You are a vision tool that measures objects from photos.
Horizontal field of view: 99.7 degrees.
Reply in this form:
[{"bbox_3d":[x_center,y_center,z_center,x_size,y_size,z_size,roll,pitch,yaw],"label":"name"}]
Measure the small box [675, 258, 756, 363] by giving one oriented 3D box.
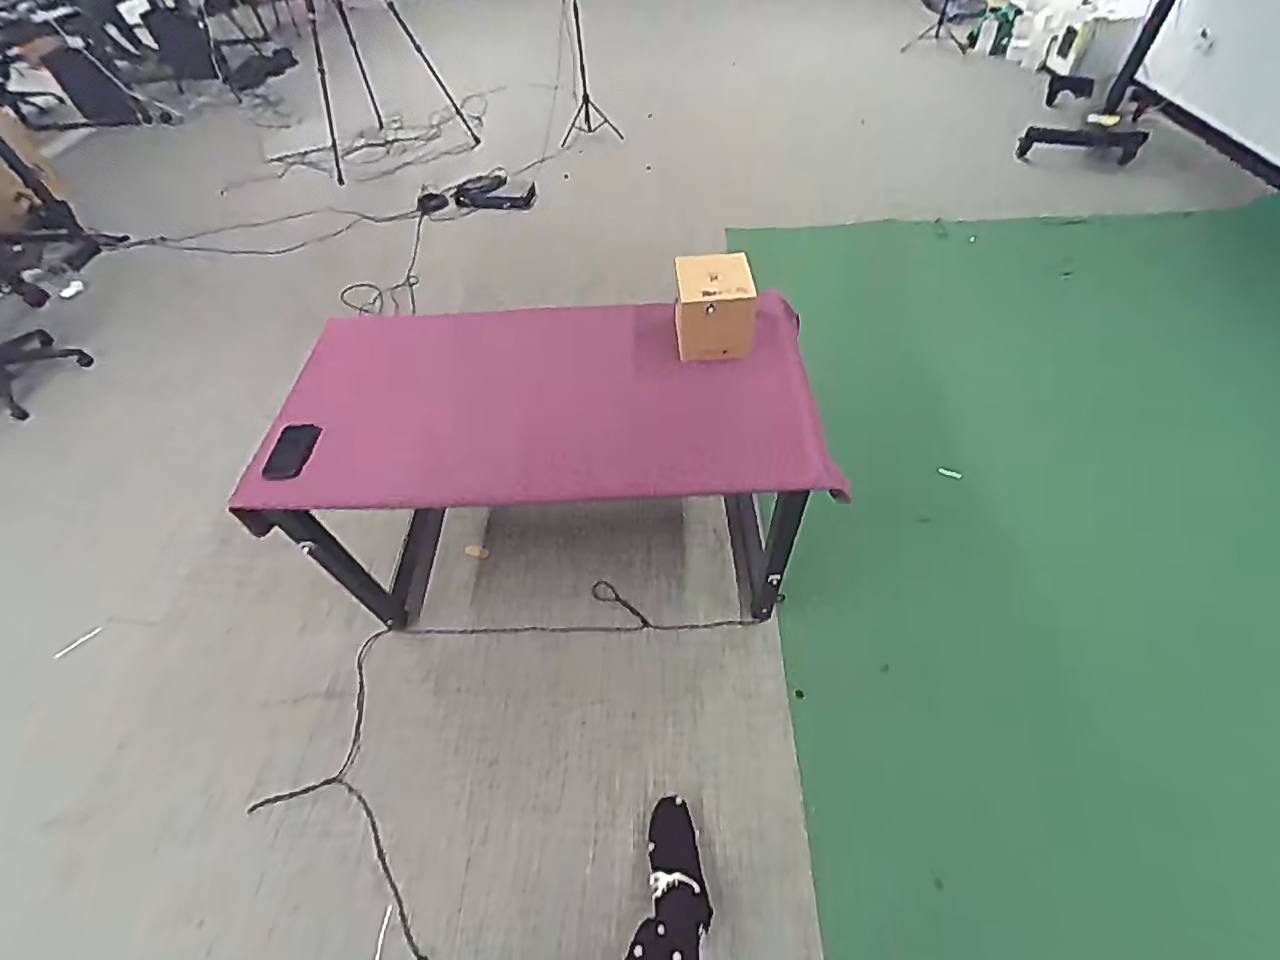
[{"bbox_3d":[0.170,-0.398,1.274,0.168,0.176,0.179,-4,52,2],"label":"small box"}]
